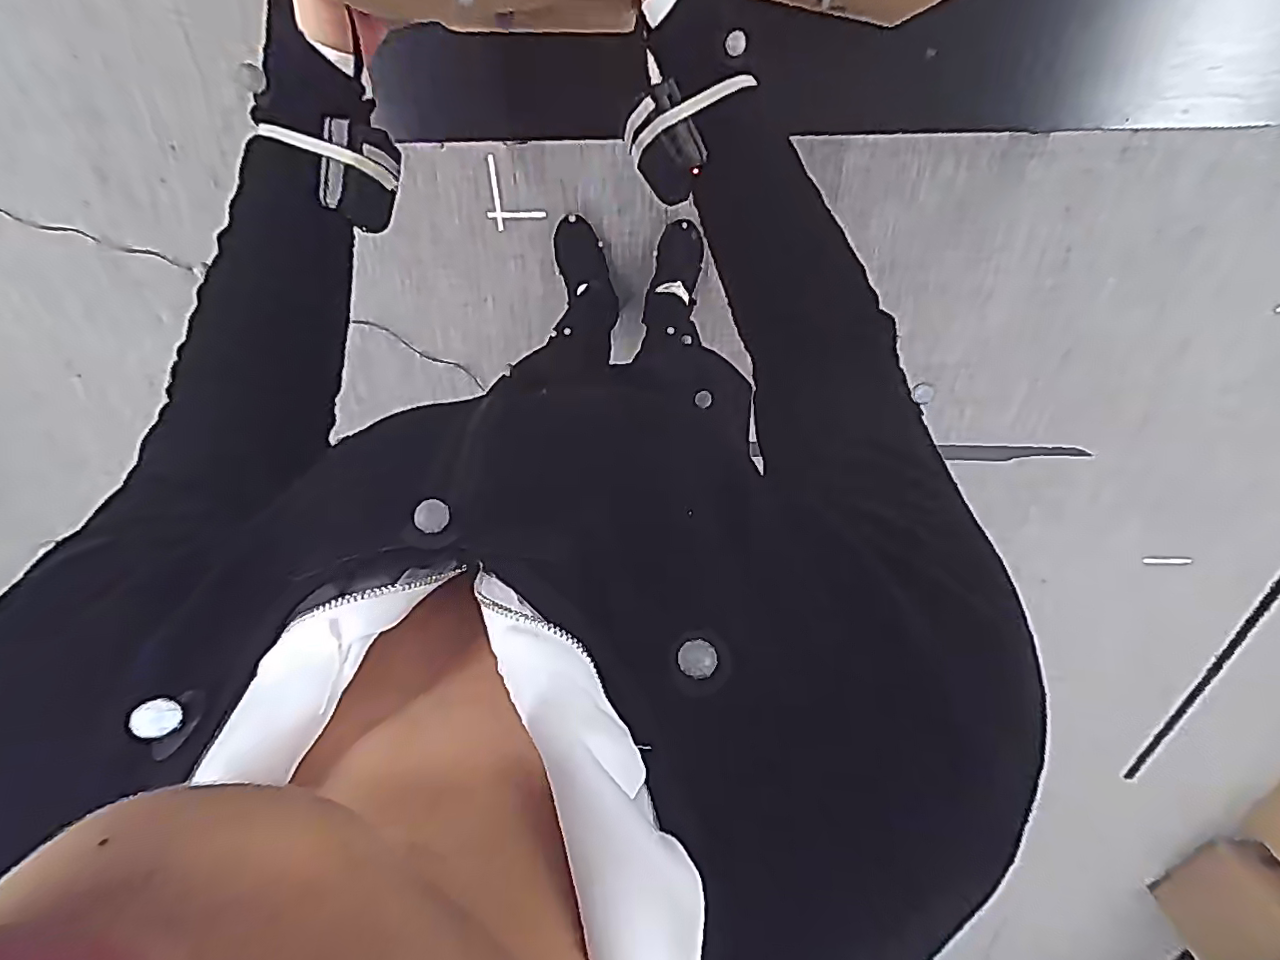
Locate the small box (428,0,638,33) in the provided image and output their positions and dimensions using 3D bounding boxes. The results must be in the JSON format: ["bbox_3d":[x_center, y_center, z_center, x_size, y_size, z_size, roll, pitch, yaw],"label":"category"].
[{"bbox_3d":[-0.091,-0.457,0.406,0.179,0.176,0.168,1,120,1],"label":"small box"}]

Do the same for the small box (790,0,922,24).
[{"bbox_3d":[0.170,-0.473,0.396,0.168,0.176,0.179,9,119,-5],"label":"small box"}]
